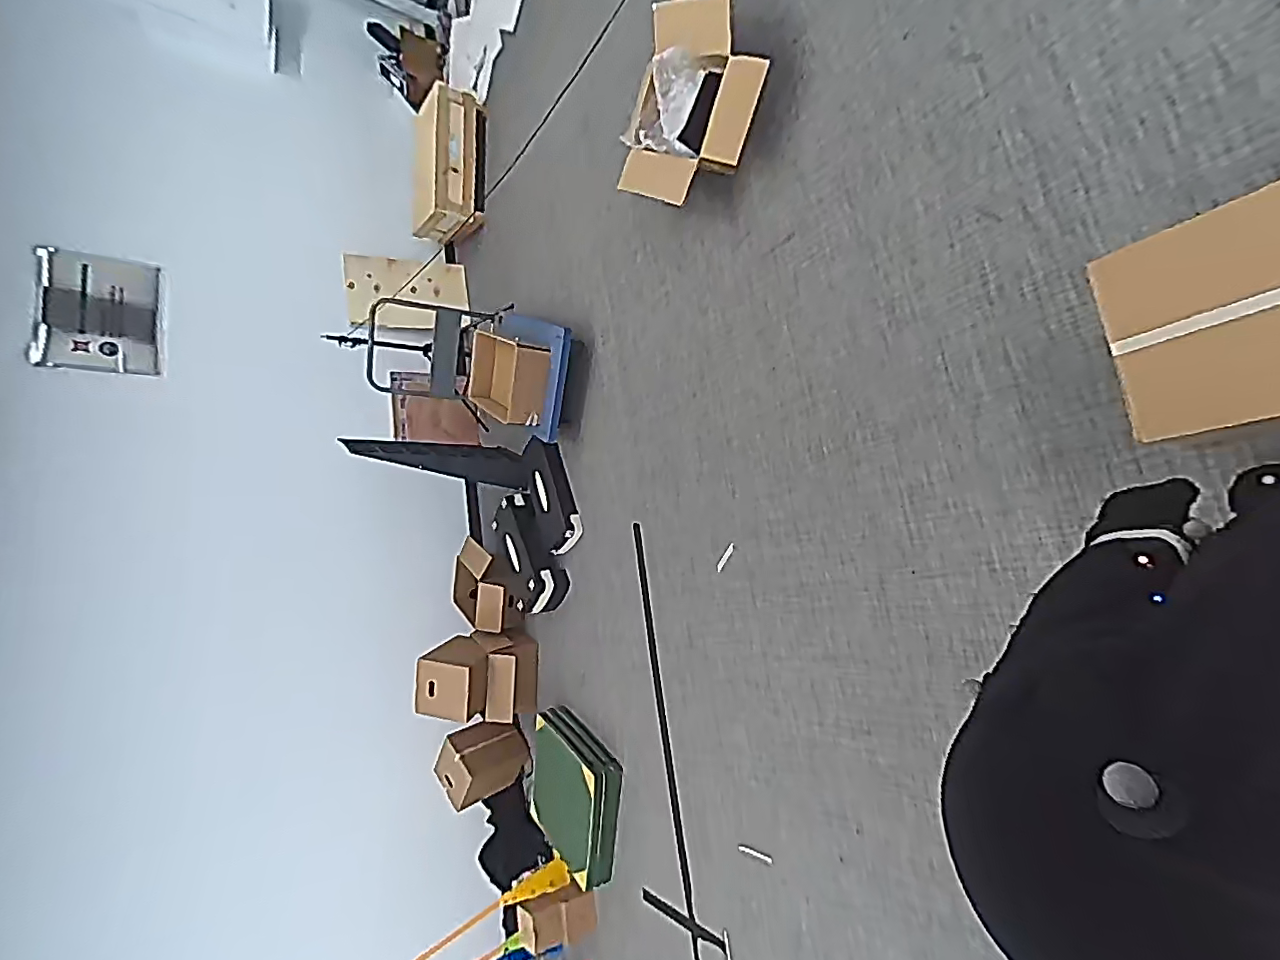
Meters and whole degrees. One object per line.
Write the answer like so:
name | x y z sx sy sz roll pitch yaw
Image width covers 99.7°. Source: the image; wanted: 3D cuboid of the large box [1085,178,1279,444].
large box | 0.995 -0.257 0.810 0.408 0.320 0.320 -21 75 52
